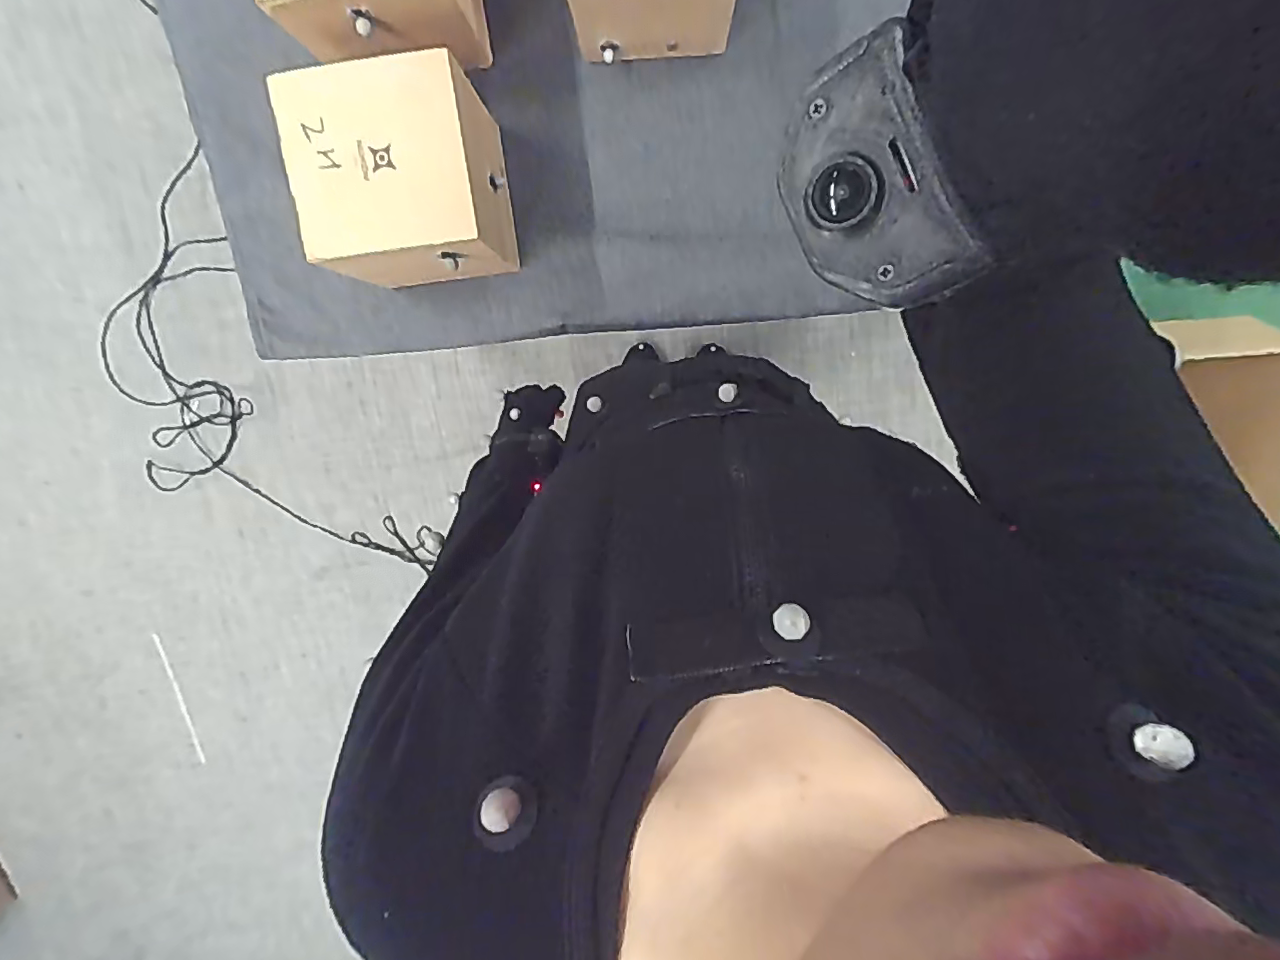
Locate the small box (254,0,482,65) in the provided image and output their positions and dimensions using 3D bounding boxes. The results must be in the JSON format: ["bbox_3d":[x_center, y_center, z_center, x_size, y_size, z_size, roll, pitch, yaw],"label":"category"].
[{"bbox_3d":[-0.271,-0.538,0.538,0.179,0.176,0.168,-7,103,5],"label":"small box"}]

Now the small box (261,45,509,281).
[{"bbox_3d":[-0.250,-0.320,0.583,0.179,0.176,0.168,-6,101,3],"label":"small box"}]

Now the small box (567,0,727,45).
[{"bbox_3d":[0.005,-0.557,0.520,0.168,0.176,0.179,-2,102,3],"label":"small box"}]
